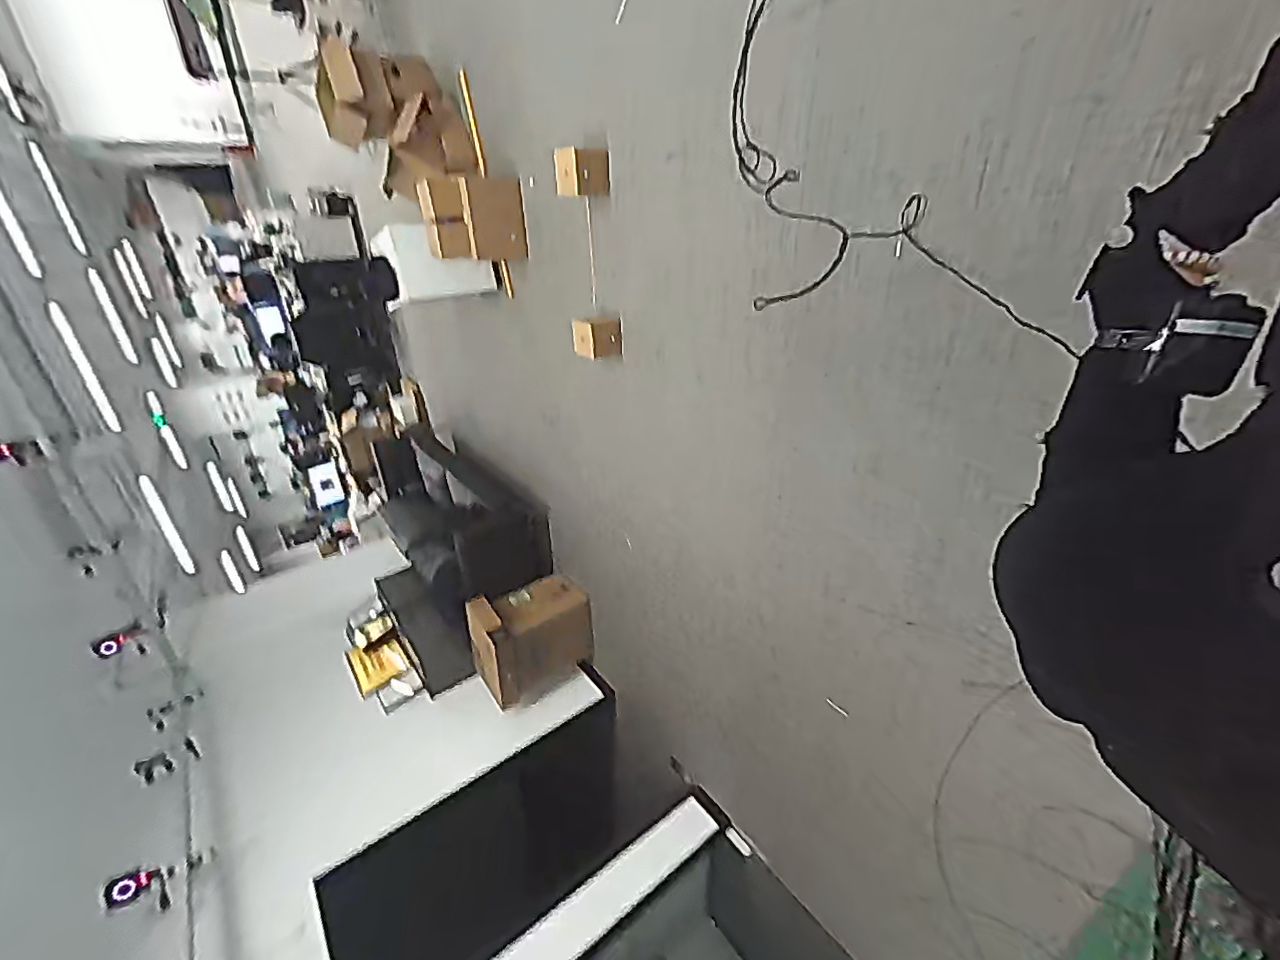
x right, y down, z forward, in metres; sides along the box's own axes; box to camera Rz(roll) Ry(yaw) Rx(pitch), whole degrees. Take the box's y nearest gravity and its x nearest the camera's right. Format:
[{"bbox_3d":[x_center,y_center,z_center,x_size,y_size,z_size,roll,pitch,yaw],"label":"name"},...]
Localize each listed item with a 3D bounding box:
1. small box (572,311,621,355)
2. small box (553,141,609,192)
[{"bbox_3d":[-0.208,-0.712,2.596,0.179,0.176,0.168,29,132,45],"label":"small box"},{"bbox_3d":[-0.248,-1.323,2.288,0.168,0.176,0.179,29,132,45],"label":"small box"}]
